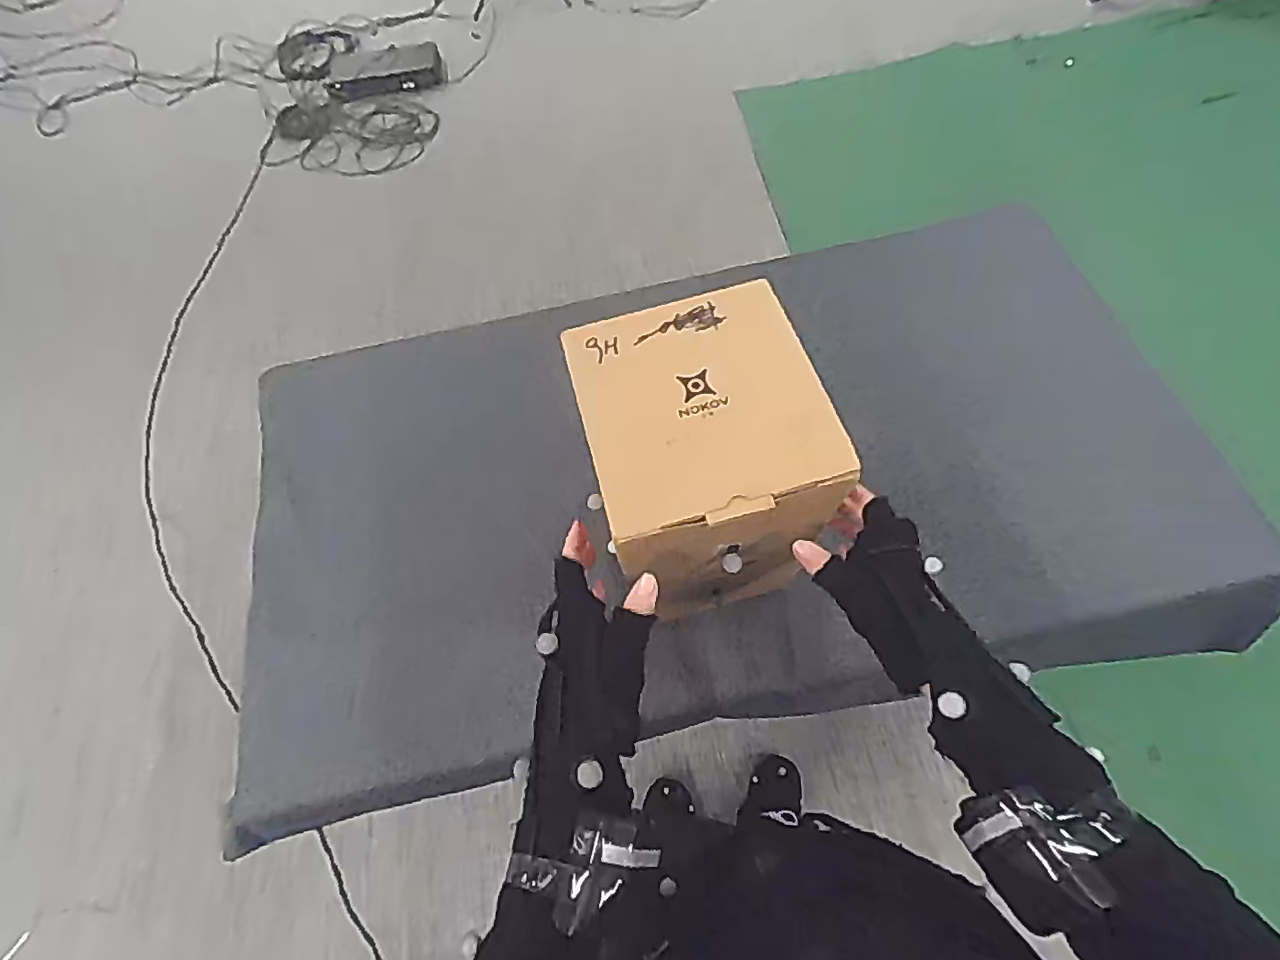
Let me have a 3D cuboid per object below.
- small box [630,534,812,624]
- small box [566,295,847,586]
[{"bbox_3d":[0.065,0.050,0.609,0.179,0.176,0.168,-15,65,-2],"label":"small box"},{"bbox_3d":[0.047,-0.018,0.462,0.168,0.176,0.179,-15,66,-3],"label":"small box"}]
